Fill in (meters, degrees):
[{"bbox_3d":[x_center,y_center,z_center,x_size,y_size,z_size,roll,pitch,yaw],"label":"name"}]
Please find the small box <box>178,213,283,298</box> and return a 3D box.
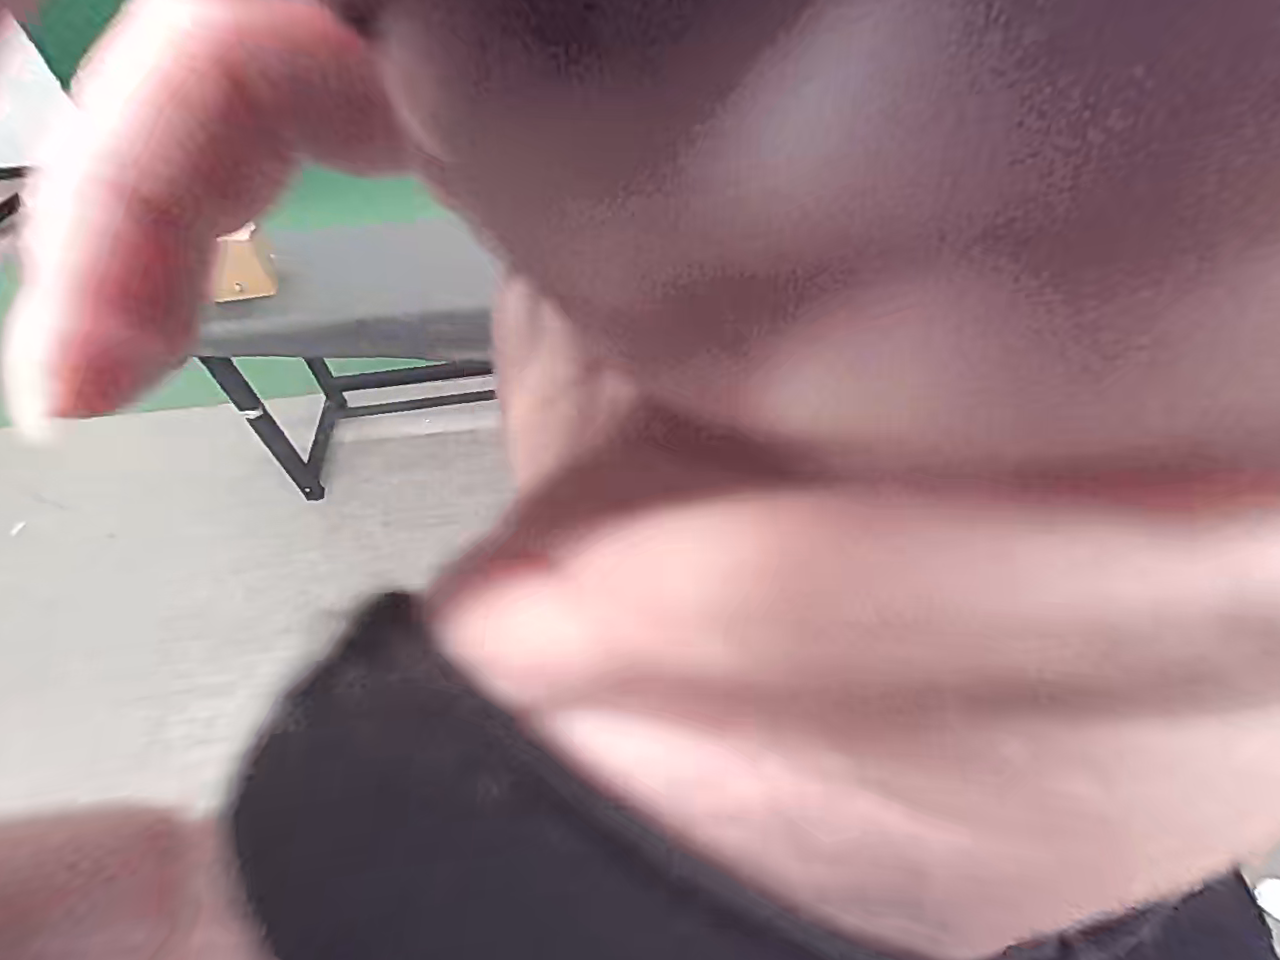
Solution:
[{"bbox_3d":[-1.167,-0.646,1.561,0.179,0.176,0.168,-11,49,-12],"label":"small box"}]
